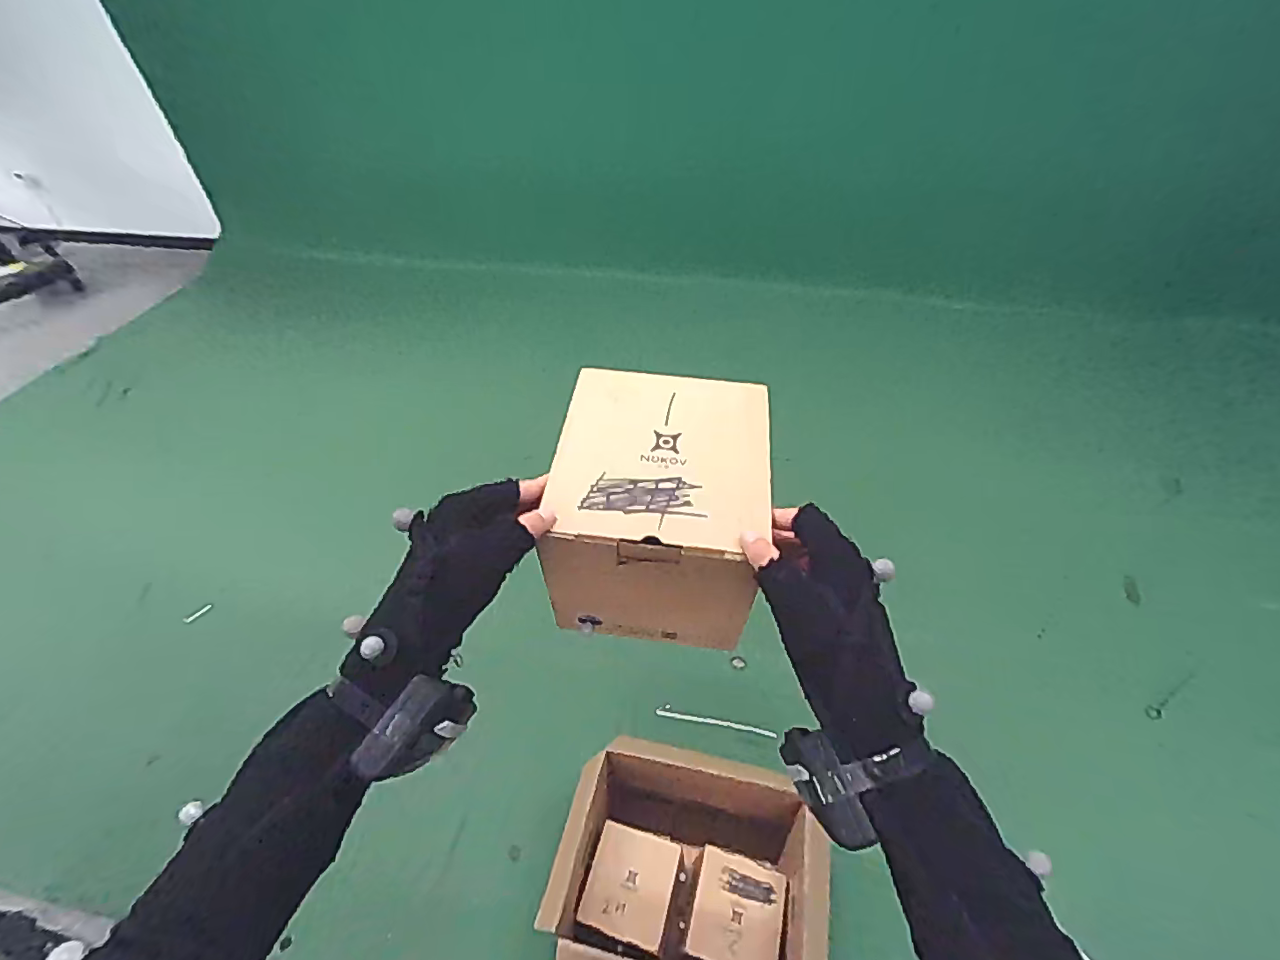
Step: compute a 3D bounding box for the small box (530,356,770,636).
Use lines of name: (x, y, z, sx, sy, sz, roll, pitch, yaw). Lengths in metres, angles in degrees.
small box: (0.016, 0.019, 0.474, 0.168, 0.176, 0.179, 7, 52, 4)
